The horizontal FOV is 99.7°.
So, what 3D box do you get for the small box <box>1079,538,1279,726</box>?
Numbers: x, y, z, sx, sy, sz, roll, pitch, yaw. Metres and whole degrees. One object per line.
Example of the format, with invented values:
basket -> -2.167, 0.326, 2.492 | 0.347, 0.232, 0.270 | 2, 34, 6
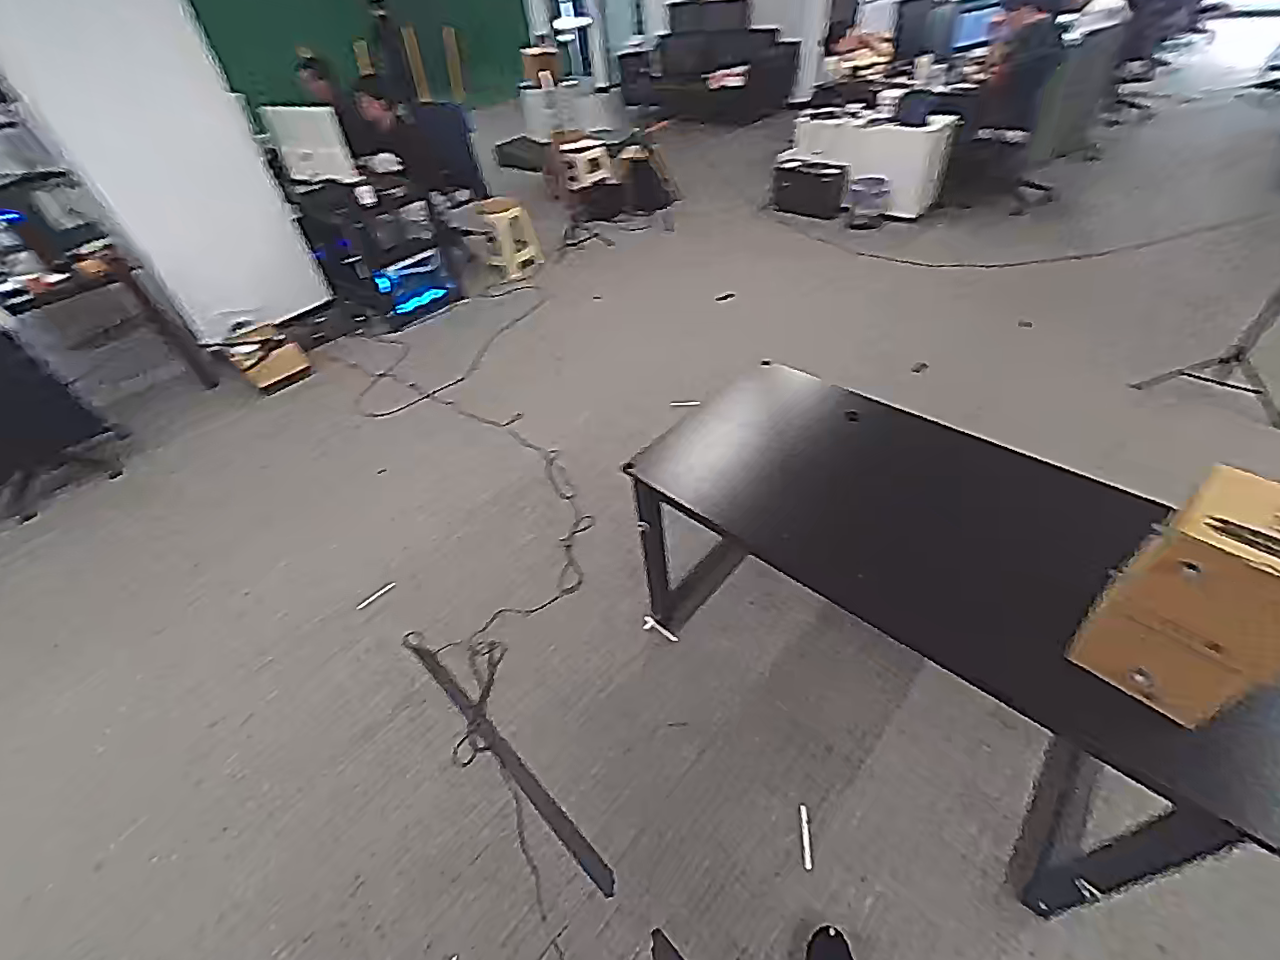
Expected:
small box -> 0.818, 0.228, 0.820 | 0.179, 0.176, 0.168 | -35, 49, -25
